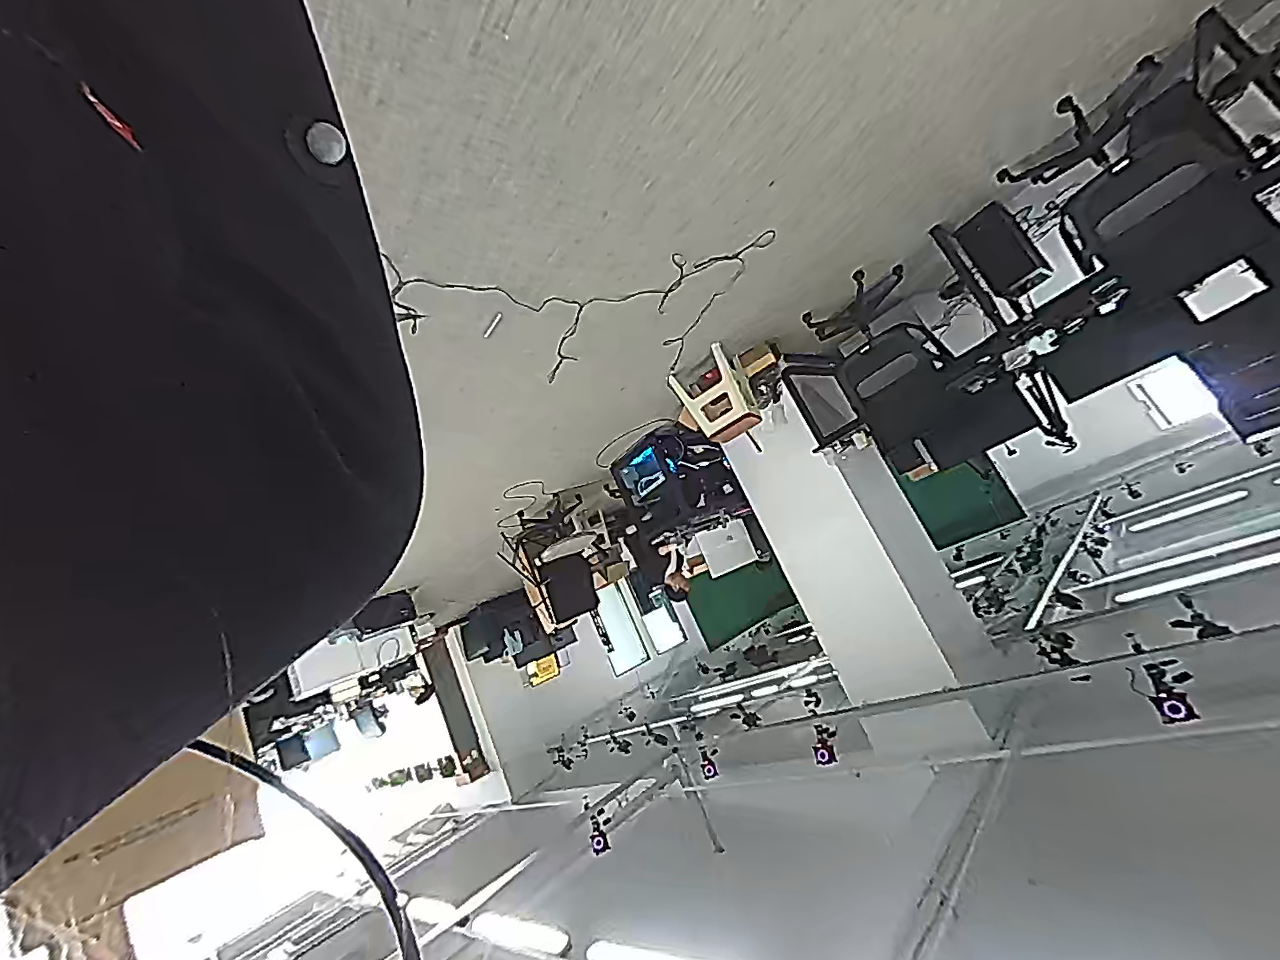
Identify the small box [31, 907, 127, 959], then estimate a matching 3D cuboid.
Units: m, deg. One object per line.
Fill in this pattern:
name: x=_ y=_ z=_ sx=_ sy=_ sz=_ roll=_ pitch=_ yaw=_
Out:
small box: x=-1.546 y=1.325 z=1.498 sx=0.168 sy=0.176 sz=0.179 roll=-13 pitch=162 yaw=-46
